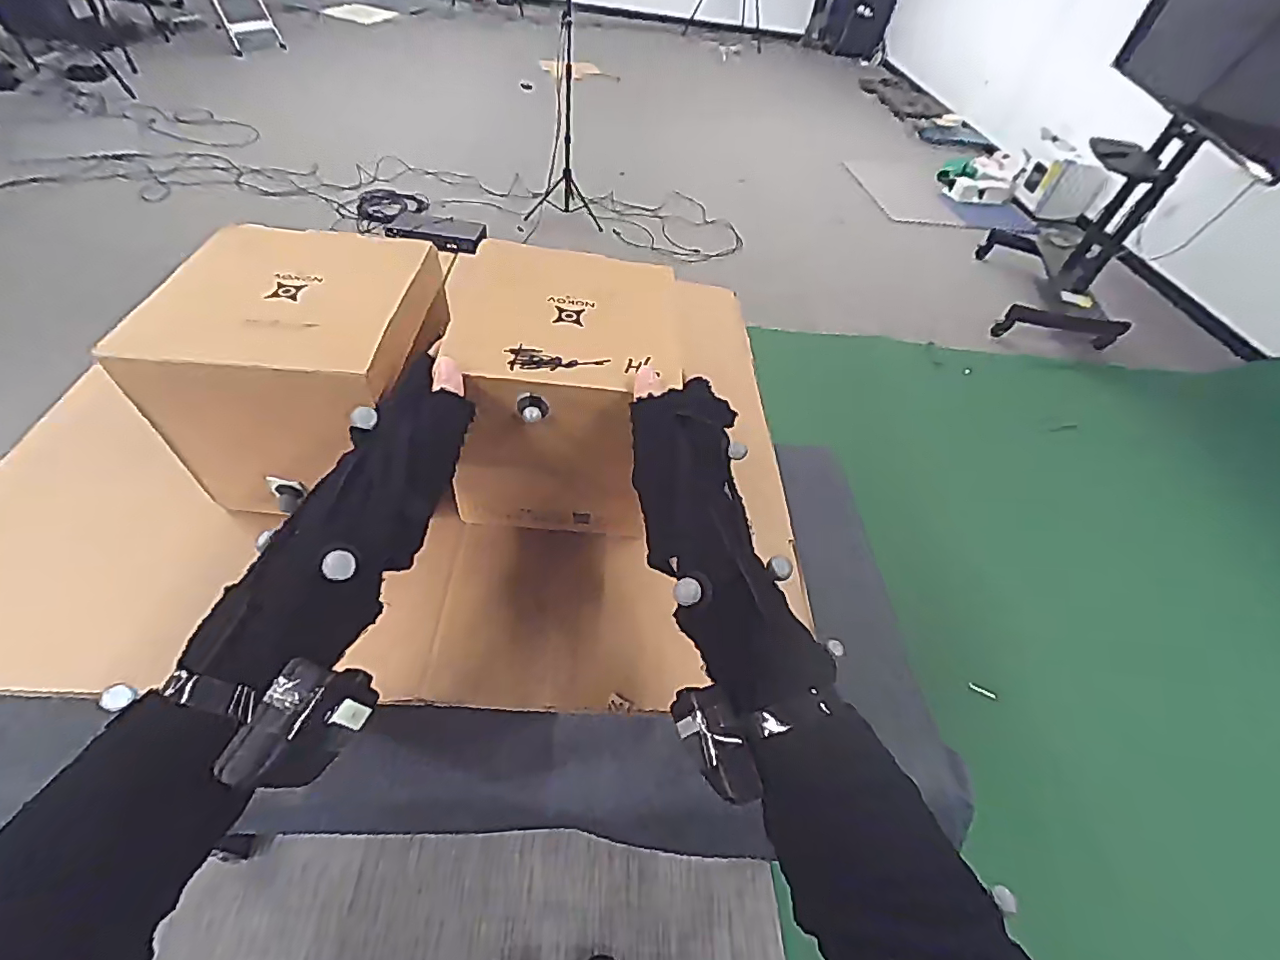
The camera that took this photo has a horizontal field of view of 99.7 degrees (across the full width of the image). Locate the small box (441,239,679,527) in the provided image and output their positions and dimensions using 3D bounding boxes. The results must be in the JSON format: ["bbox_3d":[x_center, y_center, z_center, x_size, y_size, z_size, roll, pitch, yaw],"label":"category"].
[{"bbox_3d":[-0.064,-0.083,0.479,0.168,0.176,0.179,6,48,-6],"label":"small box"}]

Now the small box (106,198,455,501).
[{"bbox_3d":[-0.257,-0.104,0.451,0.168,0.176,0.179,3,52,-4],"label":"small box"}]
